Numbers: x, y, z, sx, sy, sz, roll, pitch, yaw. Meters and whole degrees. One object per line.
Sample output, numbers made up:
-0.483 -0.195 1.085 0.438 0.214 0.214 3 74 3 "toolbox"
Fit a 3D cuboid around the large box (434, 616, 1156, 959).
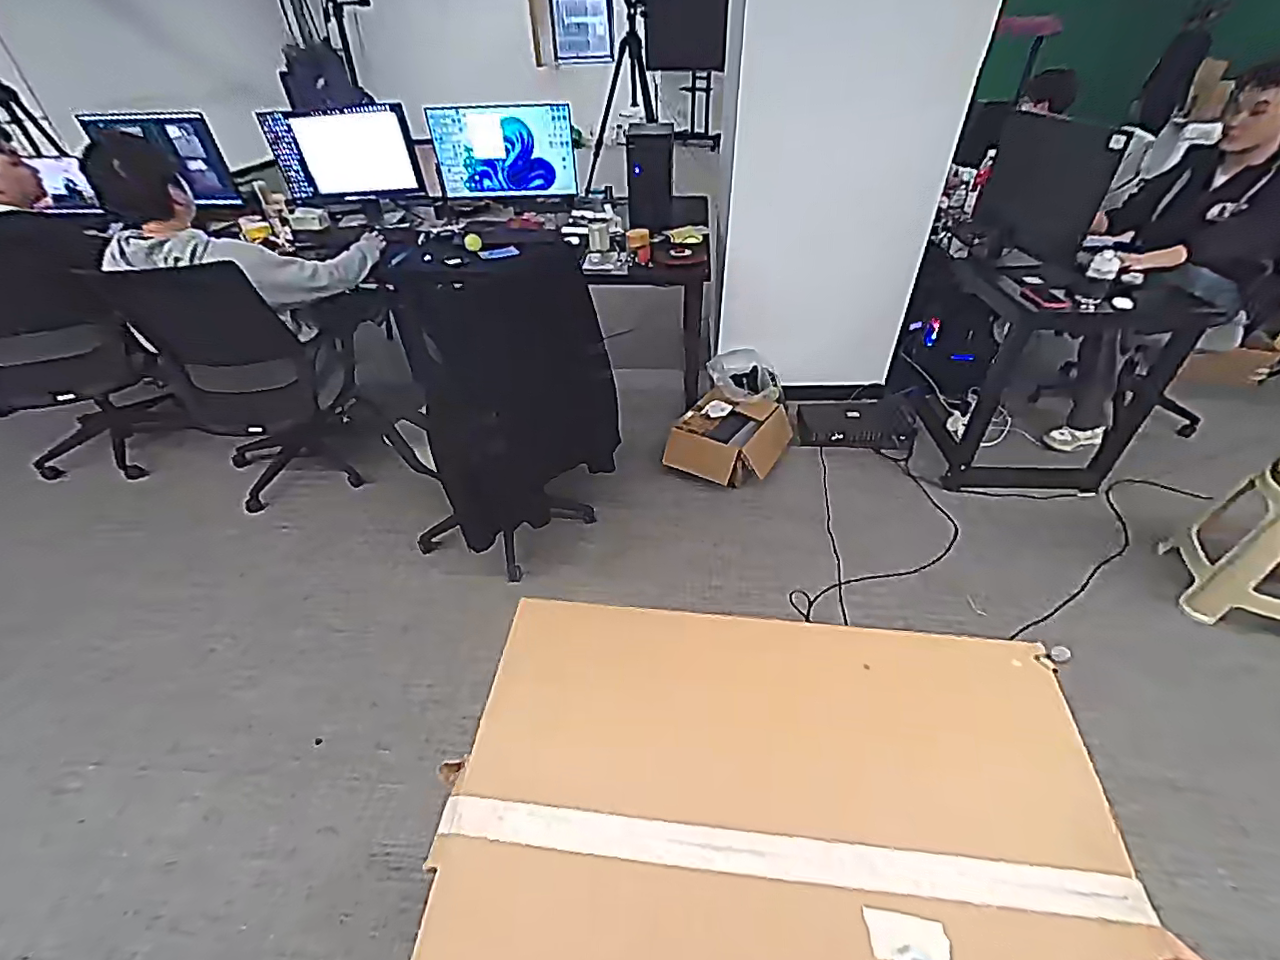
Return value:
0.089 0.335 0.437 0.408 0.320 0.320 4 48 5 "large box"
